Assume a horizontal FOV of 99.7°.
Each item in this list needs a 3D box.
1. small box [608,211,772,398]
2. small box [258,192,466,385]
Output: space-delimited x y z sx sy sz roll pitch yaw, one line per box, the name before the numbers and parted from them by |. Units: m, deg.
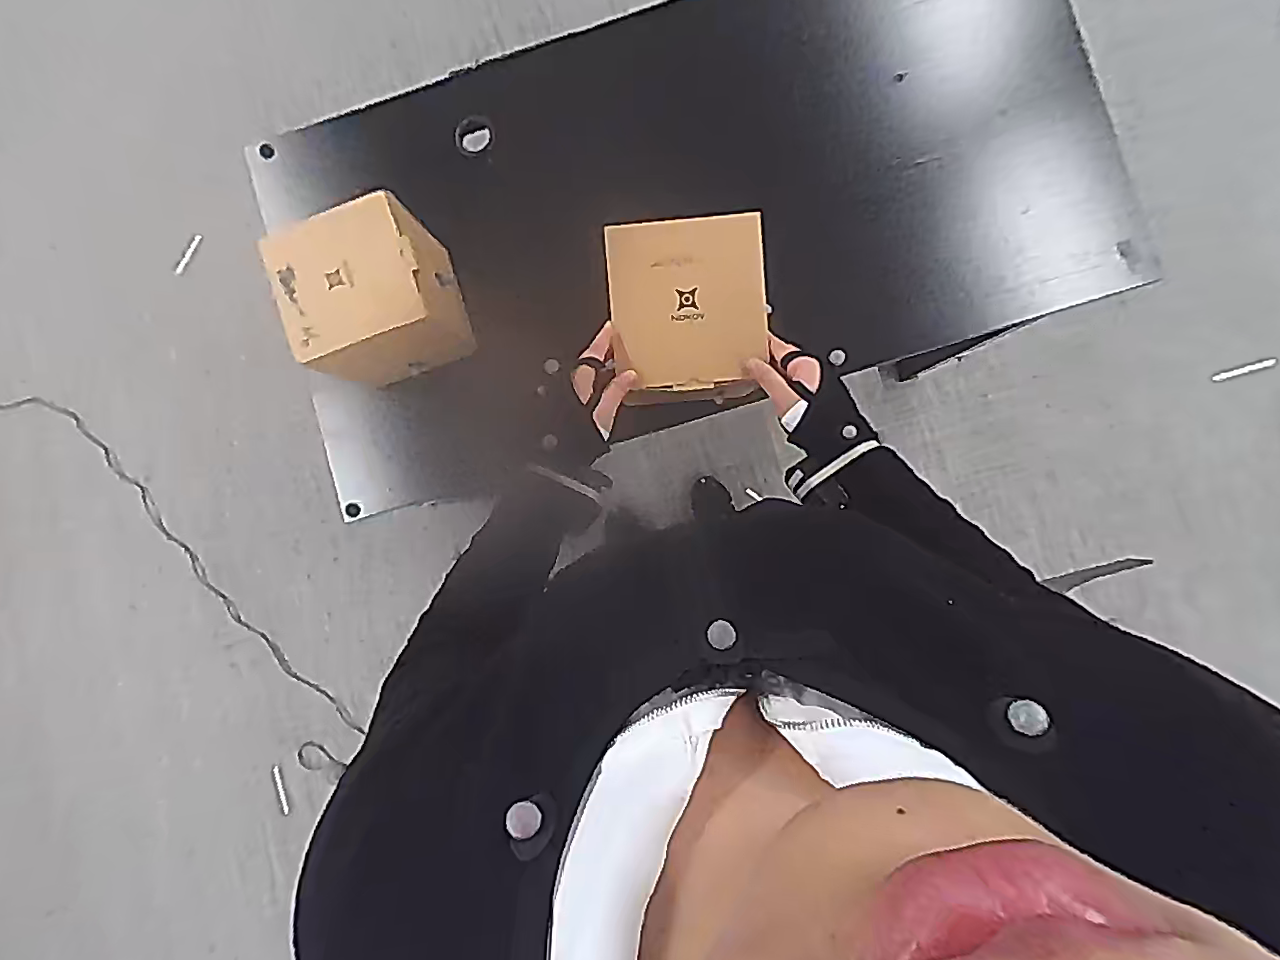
small box | 0.055 -0.193 0.647 0.168 0.176 0.179 -4 93 1
small box | -0.353 -0.243 0.729 0.179 0.176 0.168 -19 88 2
